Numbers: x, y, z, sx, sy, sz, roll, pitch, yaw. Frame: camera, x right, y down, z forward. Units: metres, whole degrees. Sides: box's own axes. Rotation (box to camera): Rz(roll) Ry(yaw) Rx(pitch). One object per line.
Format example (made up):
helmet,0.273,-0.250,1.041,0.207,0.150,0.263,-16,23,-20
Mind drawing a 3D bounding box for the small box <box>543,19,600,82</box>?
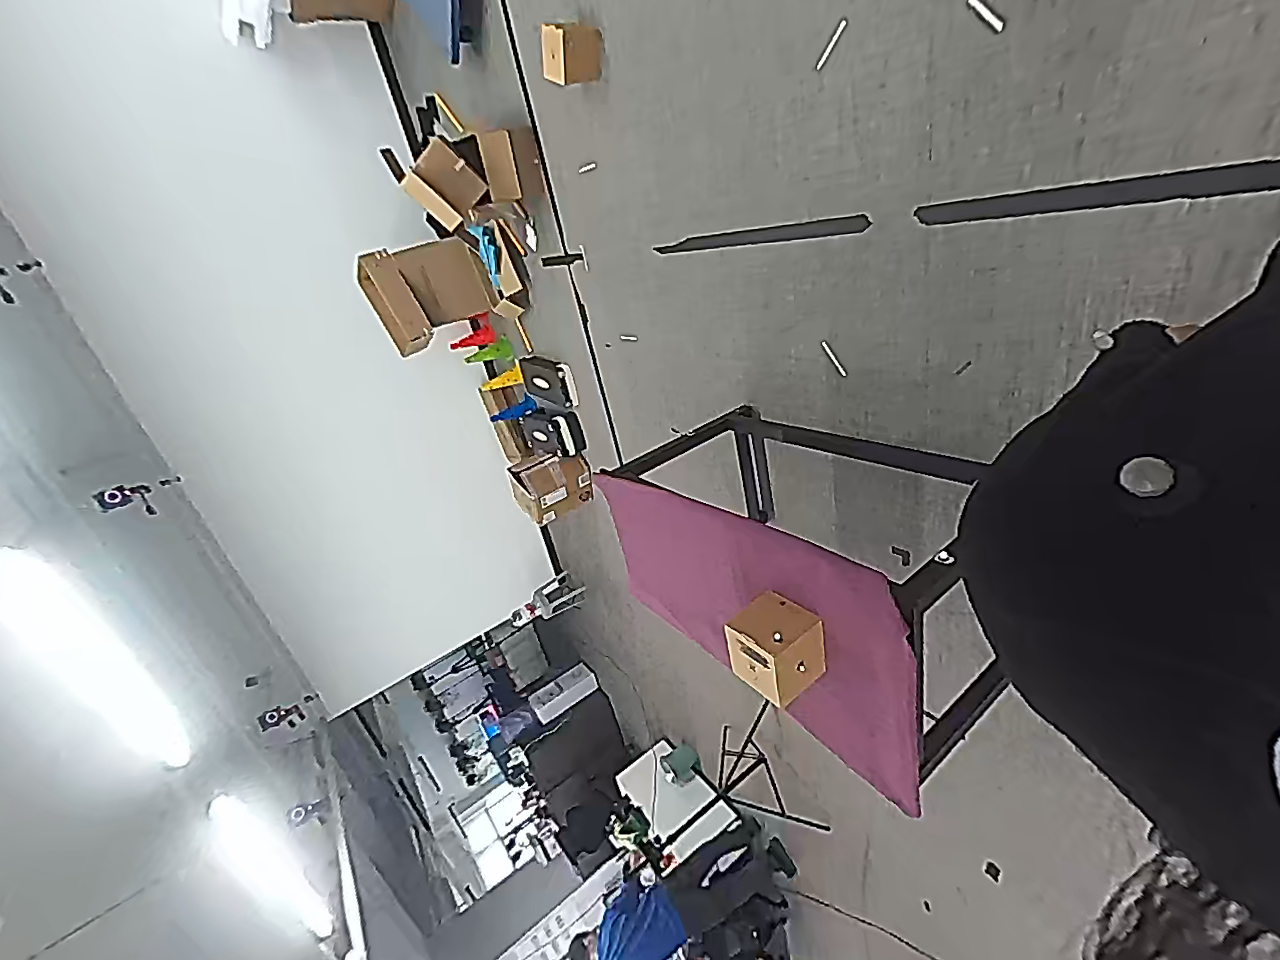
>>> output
small box,-0.271,-1.720,2.161,0.168,0.176,0.179,46,148,33
